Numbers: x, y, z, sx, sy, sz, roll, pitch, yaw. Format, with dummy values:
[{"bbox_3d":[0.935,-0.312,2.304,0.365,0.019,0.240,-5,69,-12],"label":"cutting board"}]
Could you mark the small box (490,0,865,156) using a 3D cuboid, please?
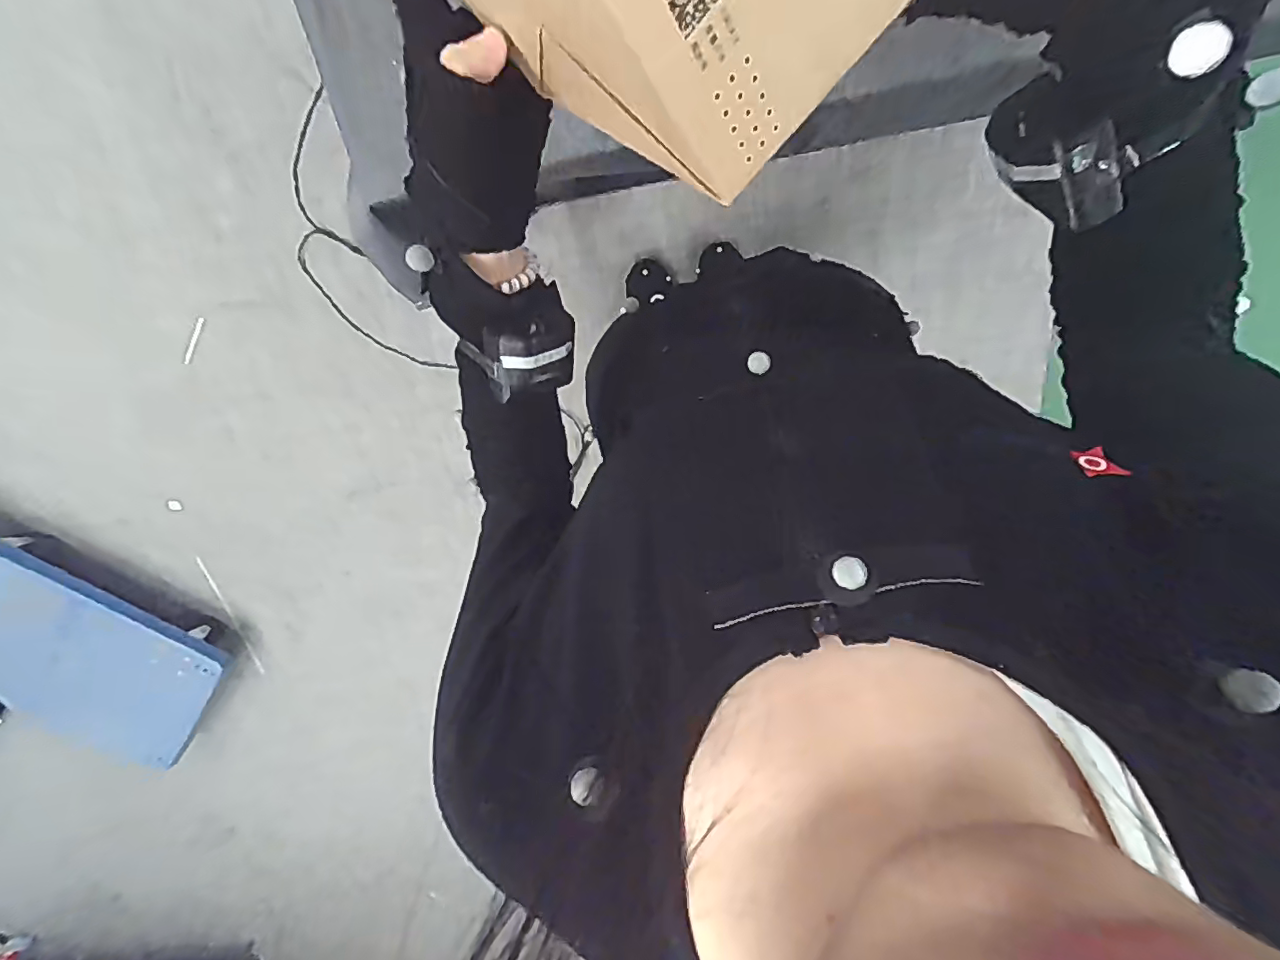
[{"bbox_3d":[0.003,-0.241,0.164,0.176,0.179,0.168,-46,143,12],"label":"small box"}]
